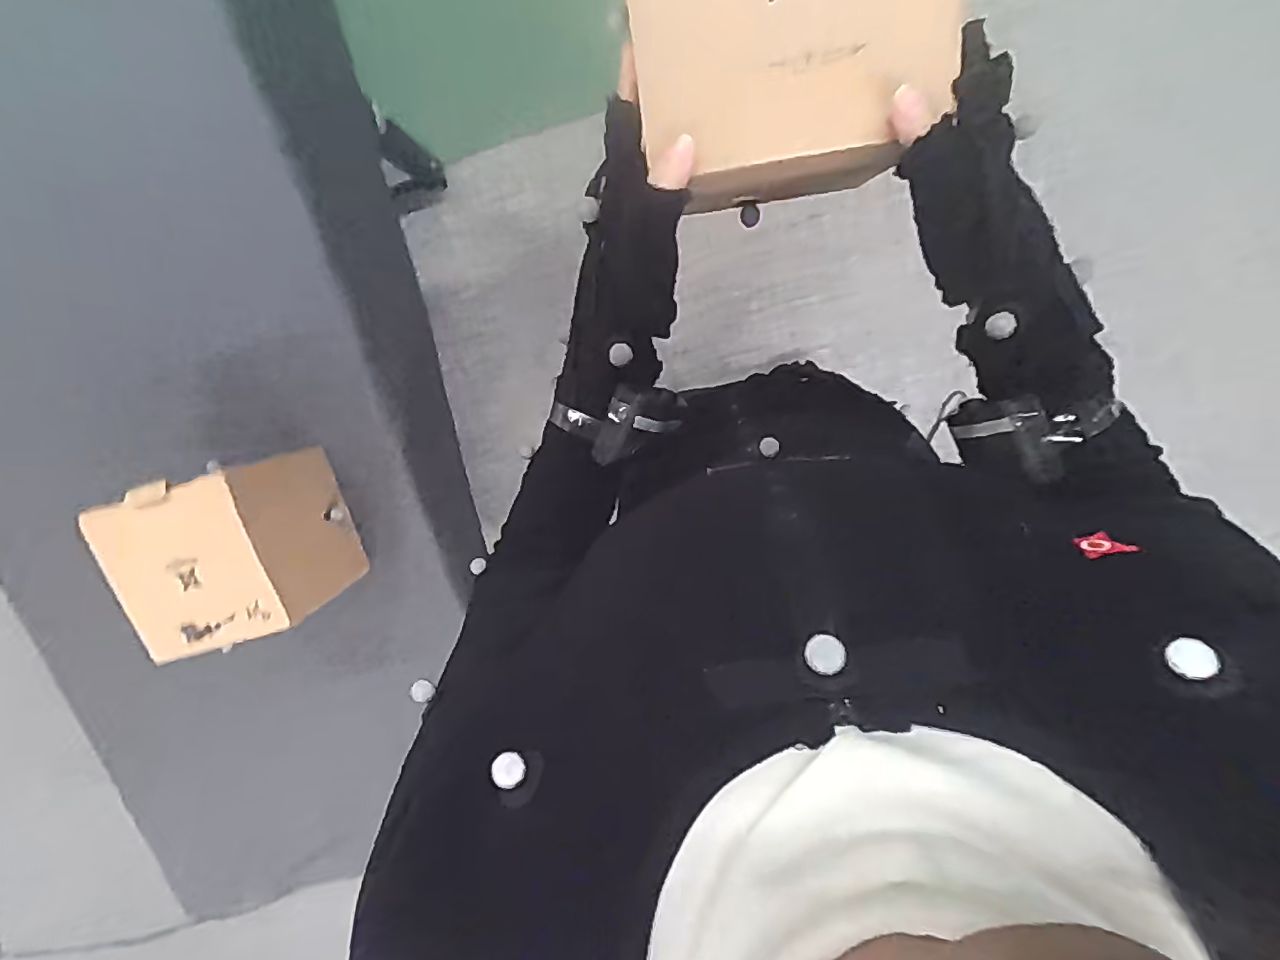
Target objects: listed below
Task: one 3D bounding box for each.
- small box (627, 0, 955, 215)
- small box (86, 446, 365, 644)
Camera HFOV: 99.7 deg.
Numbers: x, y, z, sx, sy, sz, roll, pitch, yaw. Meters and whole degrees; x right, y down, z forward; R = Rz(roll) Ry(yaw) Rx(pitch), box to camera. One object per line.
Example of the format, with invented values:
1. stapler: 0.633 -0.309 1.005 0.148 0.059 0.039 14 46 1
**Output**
1. small box: 0.078 -0.283 0.342 0.168 0.176 0.179 -4 109 6
2. small box: -0.472 0.063 0.647 0.168 0.176 0.179 -15 101 6
